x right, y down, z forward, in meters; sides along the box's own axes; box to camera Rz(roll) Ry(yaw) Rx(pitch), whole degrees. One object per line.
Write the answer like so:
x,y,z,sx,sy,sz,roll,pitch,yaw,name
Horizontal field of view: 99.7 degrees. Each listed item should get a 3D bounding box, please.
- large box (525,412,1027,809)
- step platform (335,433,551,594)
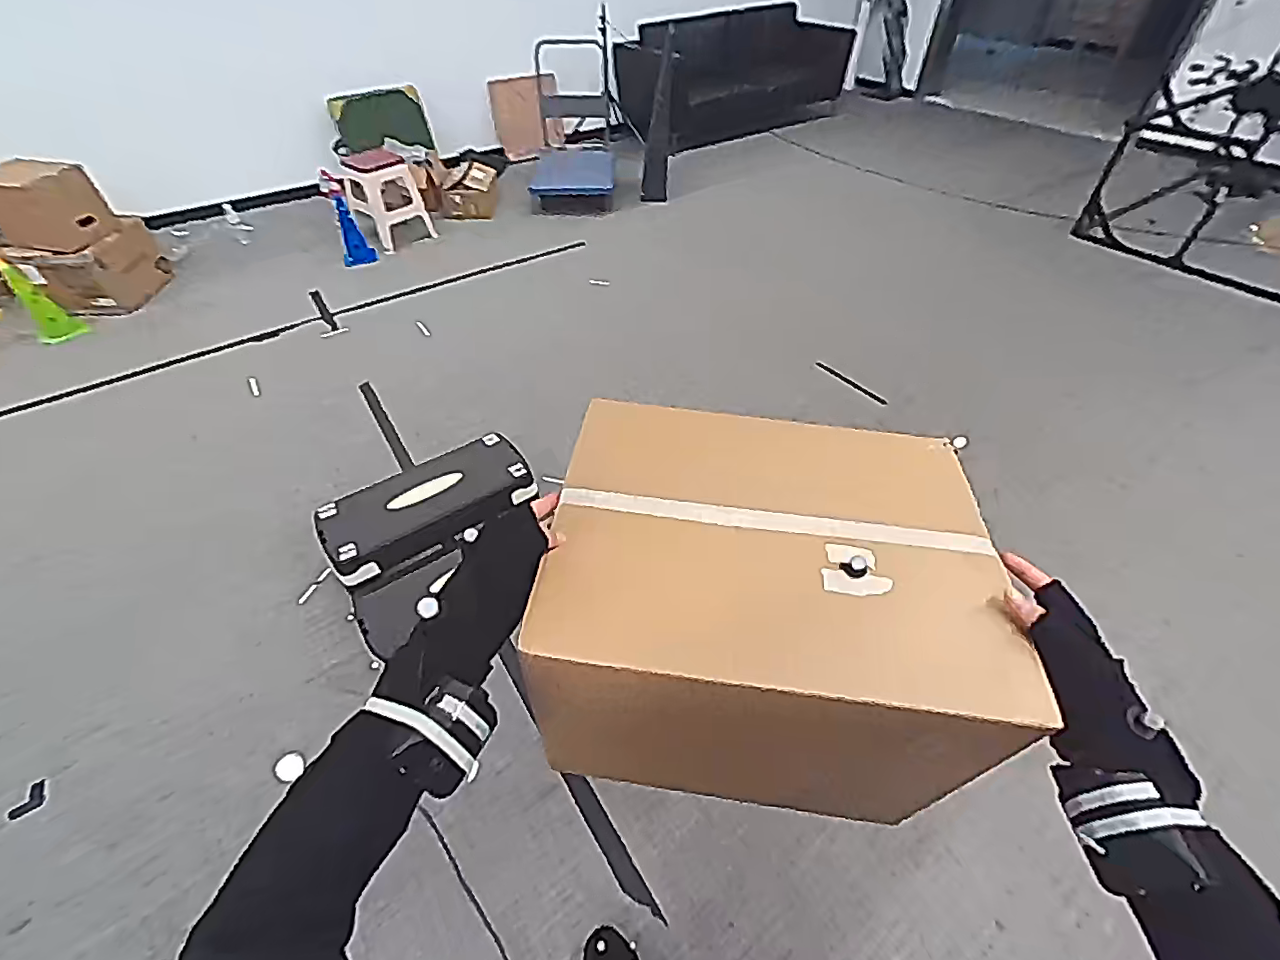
0.110,0.151,0.630,0.408,0.320,0.320,7,47,3,large box
-0.657,0.092,1.856,0.684,0.204,0.286,-28,52,-25,step platform
